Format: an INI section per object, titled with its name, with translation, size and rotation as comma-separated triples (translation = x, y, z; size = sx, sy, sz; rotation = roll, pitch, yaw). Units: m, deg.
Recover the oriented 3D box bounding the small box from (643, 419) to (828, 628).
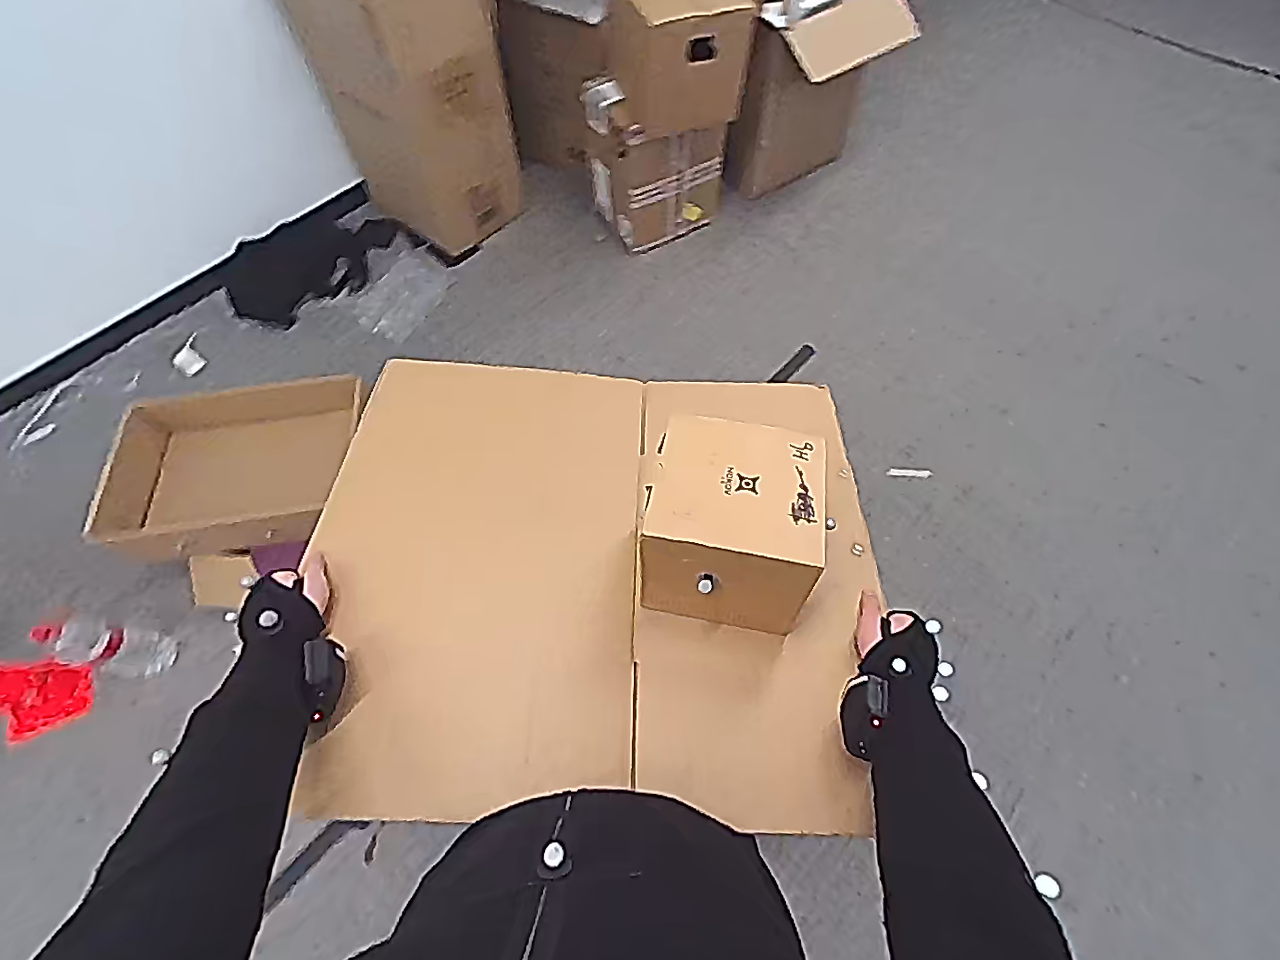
[small box]
translation = 0.107, 0.054, 0.625
size = 0.179, 0.176, 0.168
rotation = 9, 54, 9
